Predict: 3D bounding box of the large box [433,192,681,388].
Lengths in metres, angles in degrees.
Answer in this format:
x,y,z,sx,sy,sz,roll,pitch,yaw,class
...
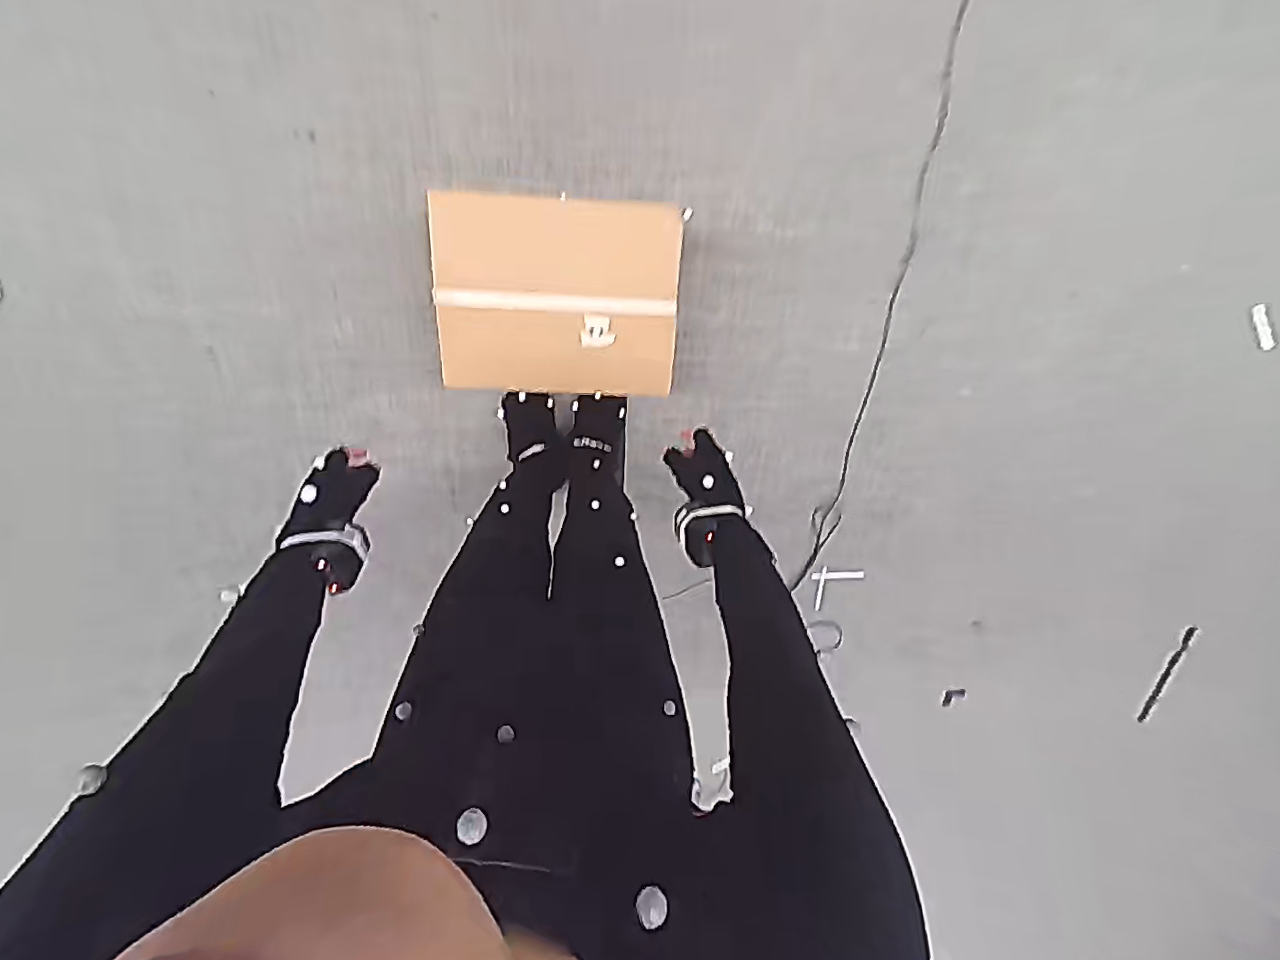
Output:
x,y,z,sx,sy,sz,roll,pitch,yaw,class
-0.151,-0.367,1.062,0.408,0.320,0.320,0,113,-6,large box
